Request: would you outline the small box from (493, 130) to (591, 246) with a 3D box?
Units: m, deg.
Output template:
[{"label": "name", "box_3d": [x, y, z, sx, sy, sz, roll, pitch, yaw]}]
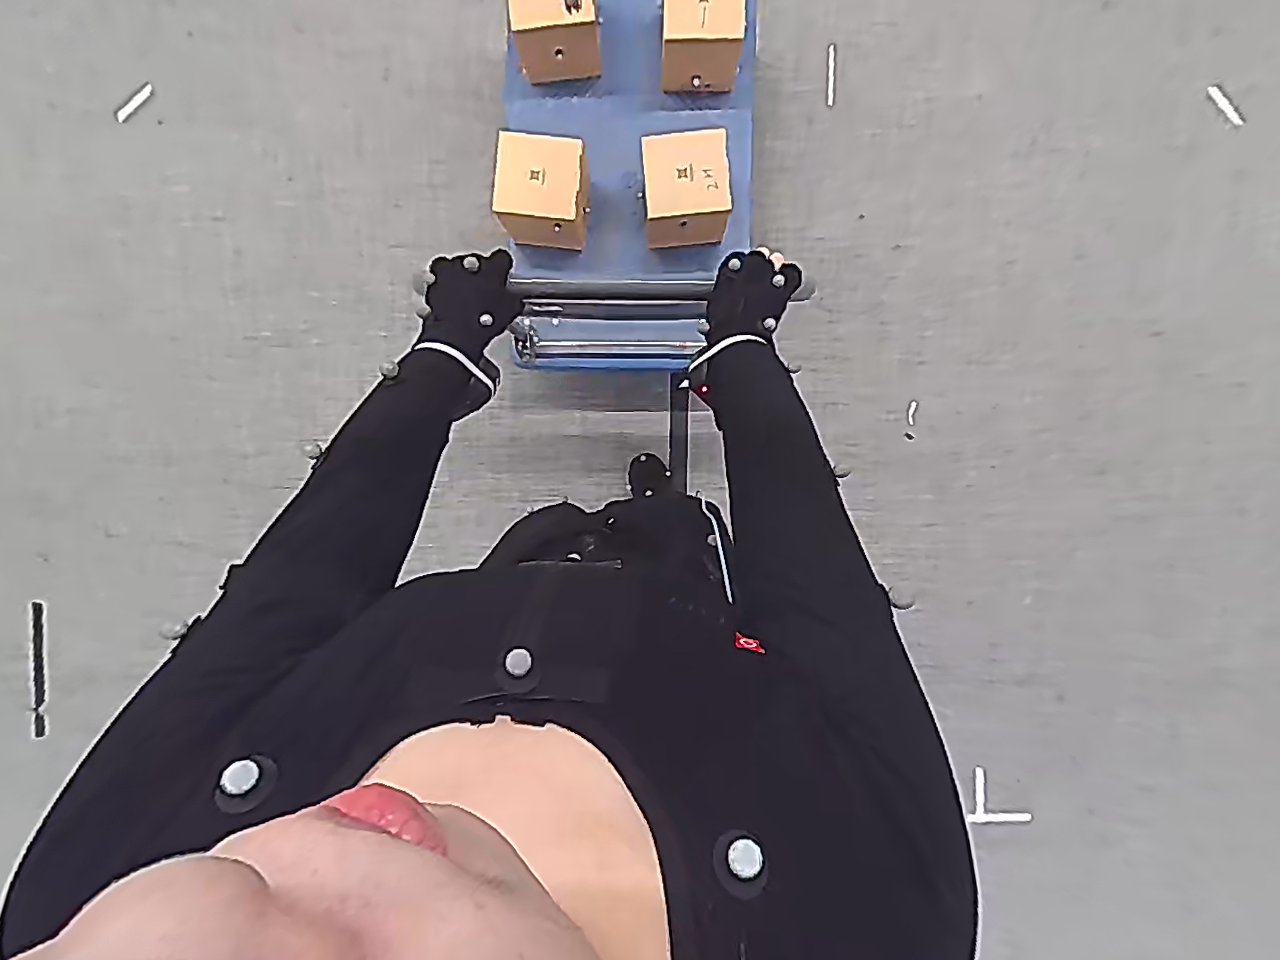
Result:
[{"label": "small box", "box_3d": [-0.210, -0.637, 1.198, 0.179, 0.176, 0.168, 6, 93, 0]}]

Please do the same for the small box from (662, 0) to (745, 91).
[{"label": "small box", "box_3d": [0.132, -0.986, 1.167, 0.168, 0.176, 0.179, 1, 95, 2]}]

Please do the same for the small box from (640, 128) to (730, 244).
[{"label": "small box", "box_3d": [0.097, -0.636, 1.189, 0.179, 0.176, 0.168, -5, 94, 2]}]
